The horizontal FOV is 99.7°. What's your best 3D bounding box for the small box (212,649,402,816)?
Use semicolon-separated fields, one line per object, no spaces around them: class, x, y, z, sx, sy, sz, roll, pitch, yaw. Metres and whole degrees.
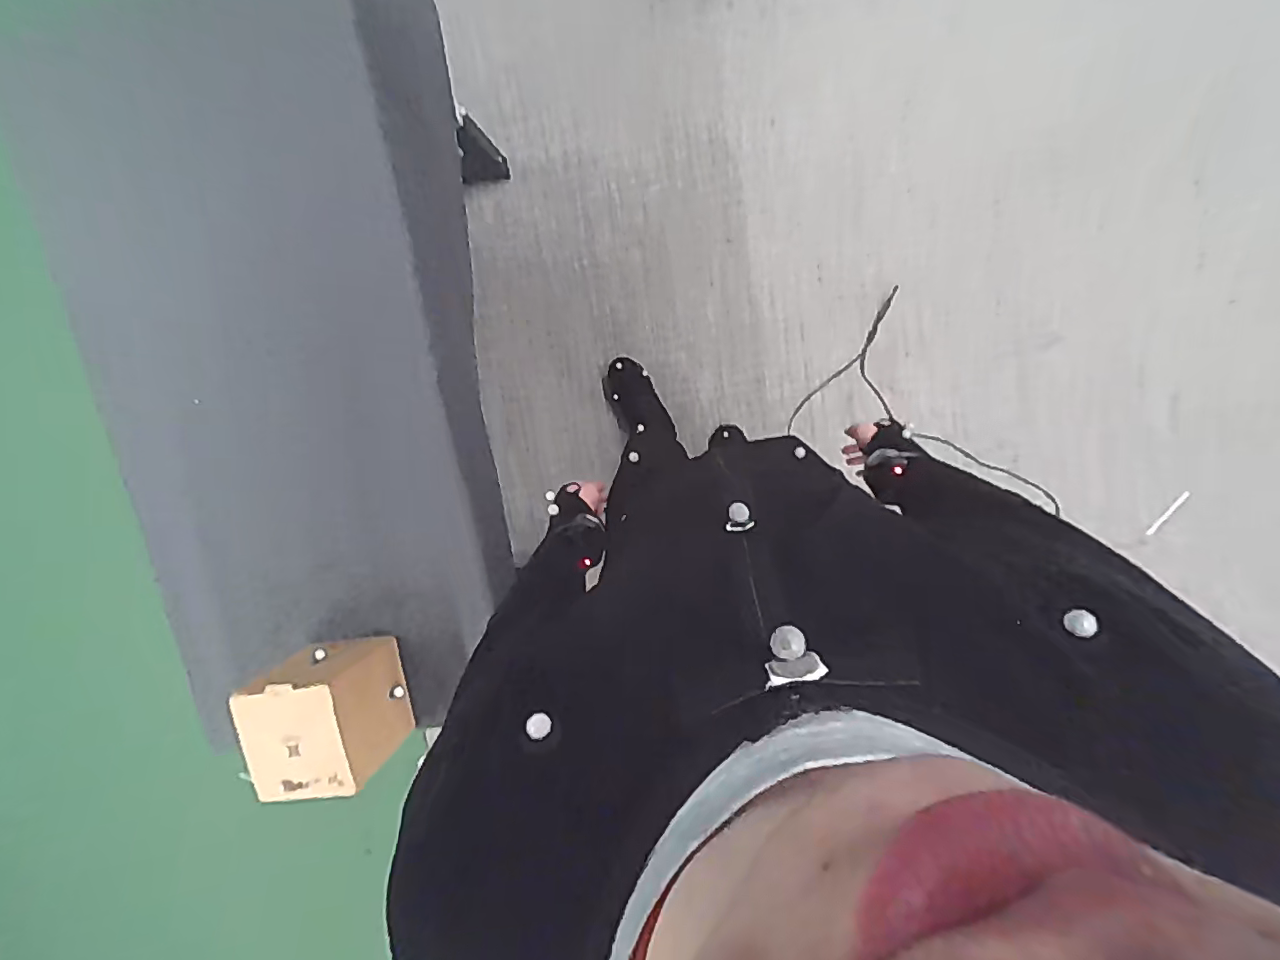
small box;-0.500;0.376;0.836;0.168;0.176;0.179;-9;97;7
